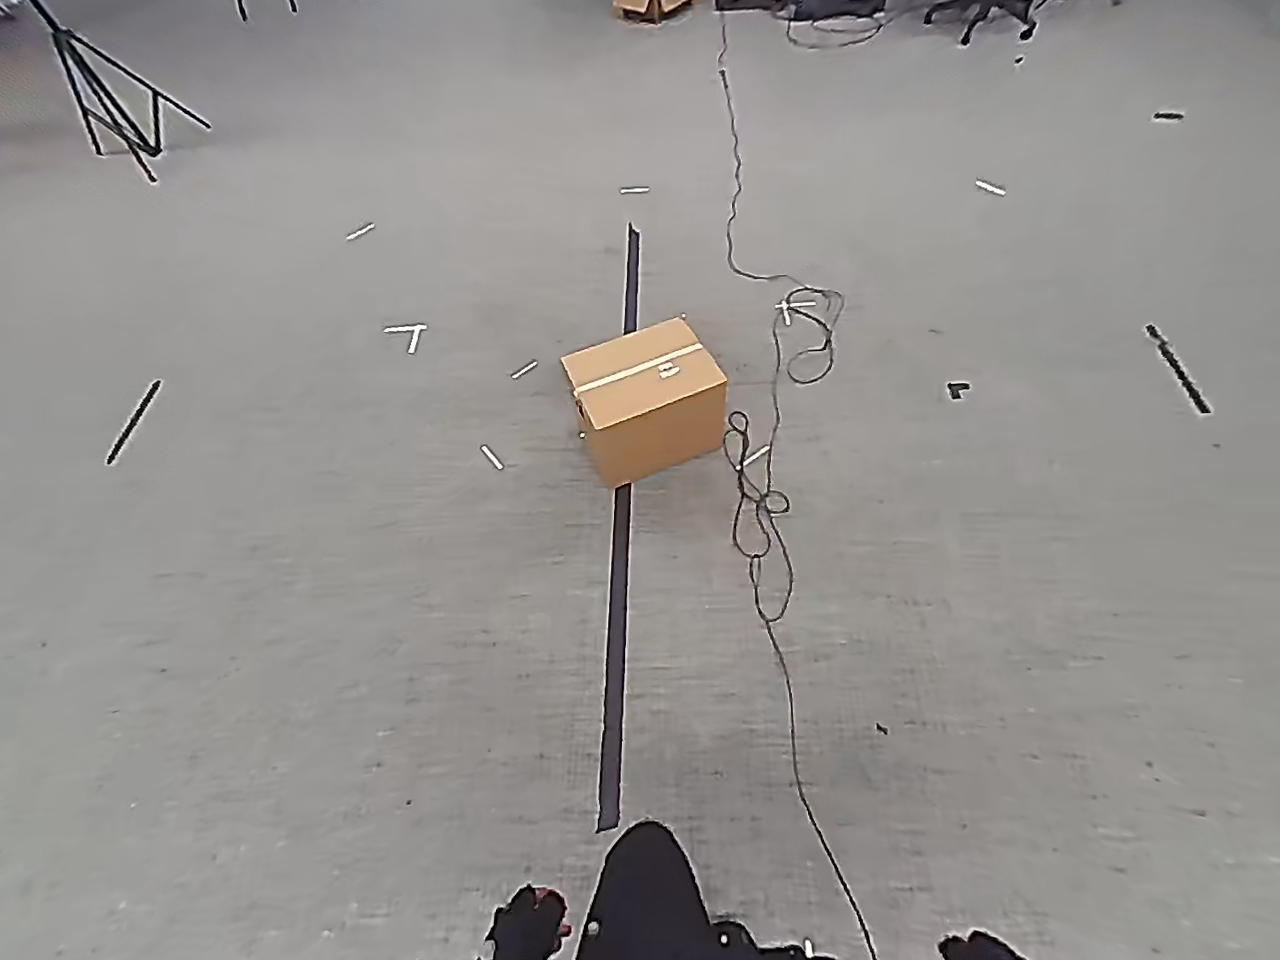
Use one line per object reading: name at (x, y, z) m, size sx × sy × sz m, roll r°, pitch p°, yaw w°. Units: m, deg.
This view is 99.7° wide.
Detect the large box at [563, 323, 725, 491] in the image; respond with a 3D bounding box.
large box at (0.015, -0.227, 1.706) m, size 0.408 × 0.320 × 0.320 m, roll -21°, pitch 57°, yaw -10°
